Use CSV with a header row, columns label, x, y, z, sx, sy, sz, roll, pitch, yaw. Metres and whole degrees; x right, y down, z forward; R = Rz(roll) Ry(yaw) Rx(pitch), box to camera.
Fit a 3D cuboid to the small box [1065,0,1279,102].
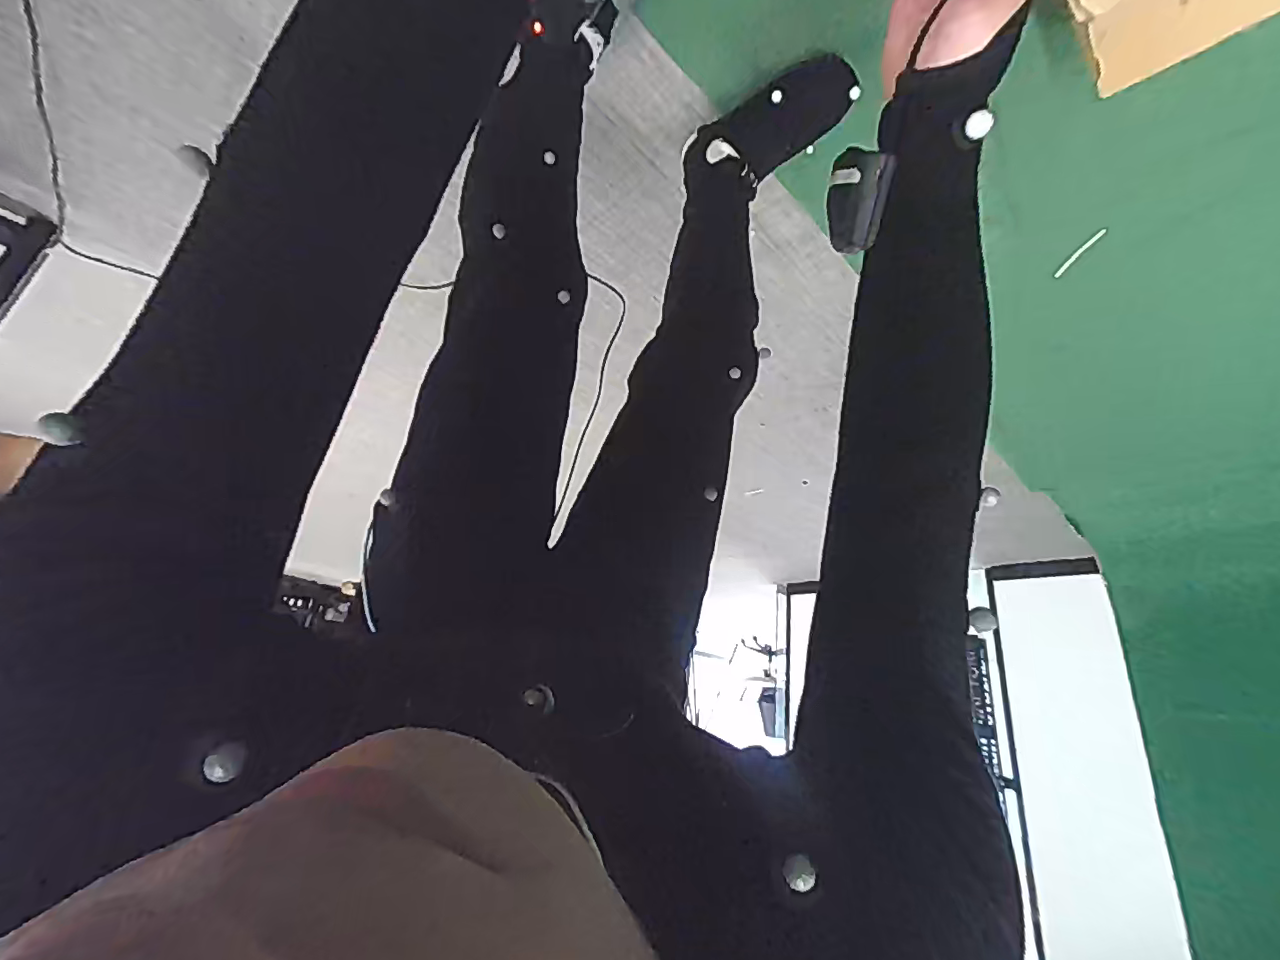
label,x,y,z,sx,sy,sz,roll,pitch,yaw
small box,0.570,-0.574,0.575,0.179,0.176,0.168,-13,151,42
